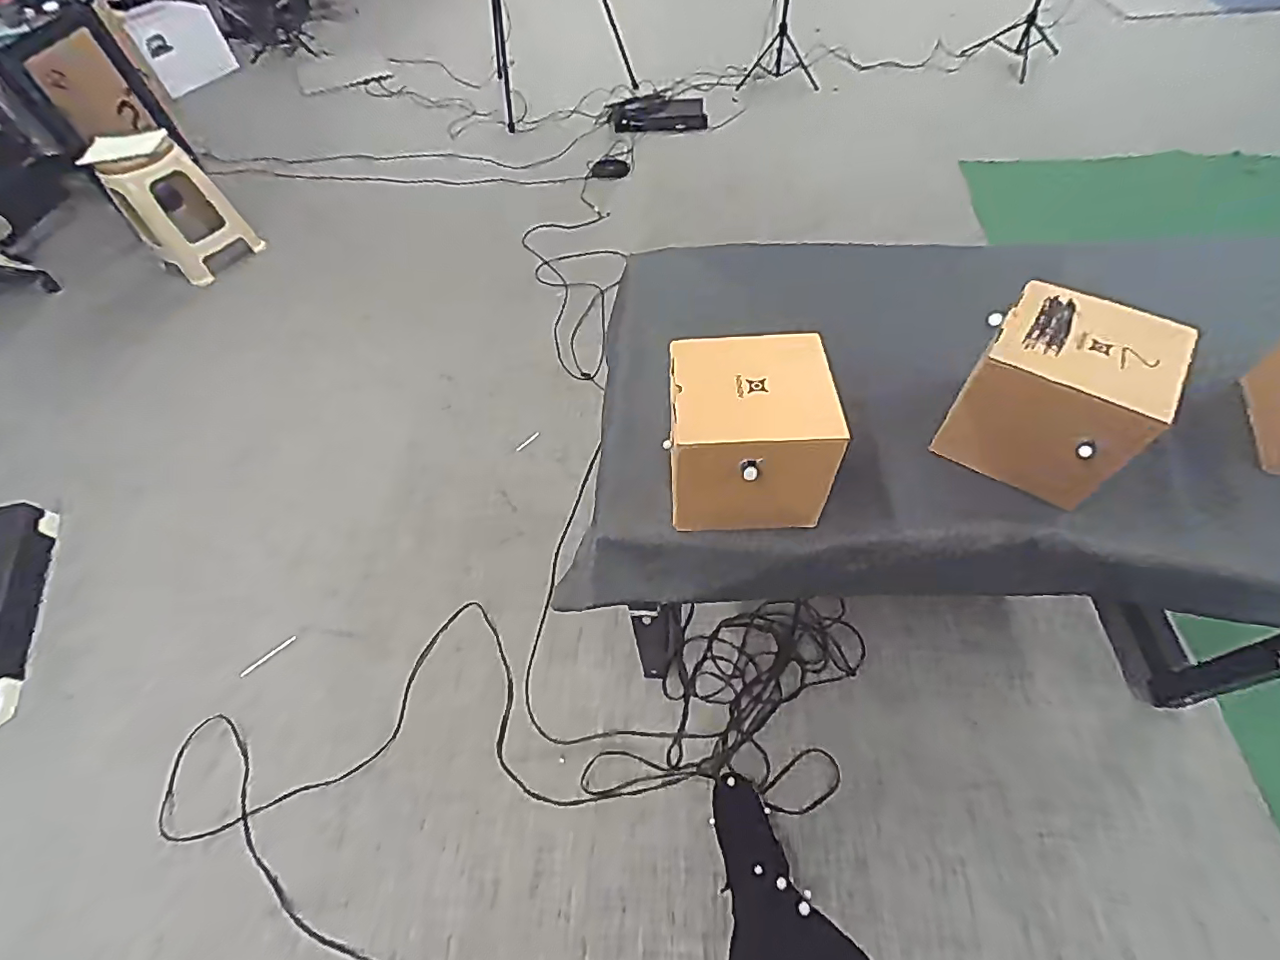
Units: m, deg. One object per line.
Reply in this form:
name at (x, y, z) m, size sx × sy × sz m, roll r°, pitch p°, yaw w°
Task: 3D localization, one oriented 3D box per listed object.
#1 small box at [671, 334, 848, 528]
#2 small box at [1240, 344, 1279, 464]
small box at (0.126, -0.054, 0.649) m, size 0.179 × 0.176 × 0.168 m, roll -2°, pitch 53°, yaw 4°
small box at (0.871, -0.099, 0.625) m, size 0.168 × 0.176 × 0.179 m, roll 17°, pitch 57°, yaw 15°
